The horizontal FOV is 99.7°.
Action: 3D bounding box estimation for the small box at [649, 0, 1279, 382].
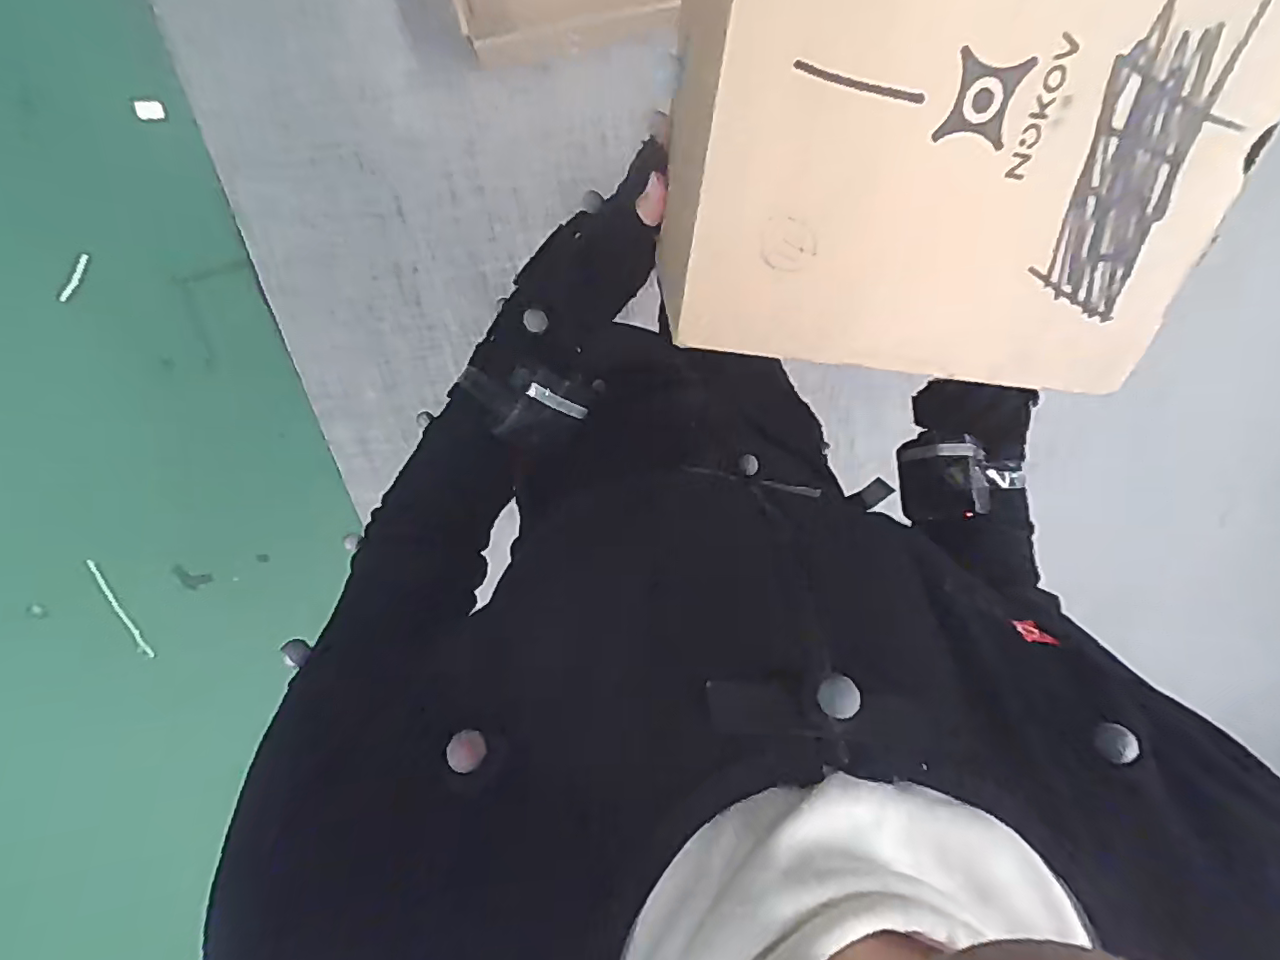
[{"bbox_3d":[0.102,-0.157,0.230,0.179,0.176,0.168,7,120,-4],"label":"small box"}]
